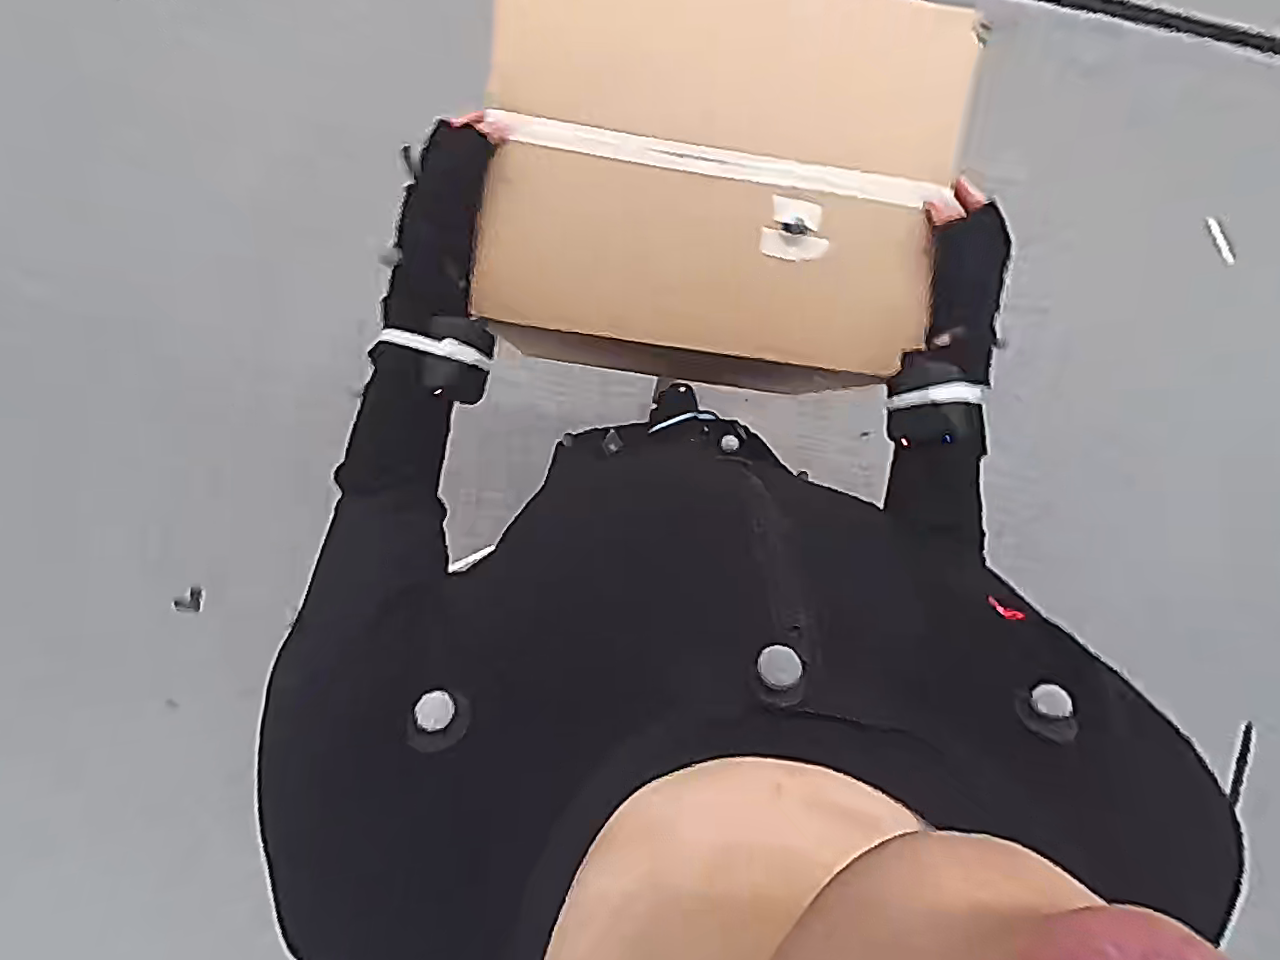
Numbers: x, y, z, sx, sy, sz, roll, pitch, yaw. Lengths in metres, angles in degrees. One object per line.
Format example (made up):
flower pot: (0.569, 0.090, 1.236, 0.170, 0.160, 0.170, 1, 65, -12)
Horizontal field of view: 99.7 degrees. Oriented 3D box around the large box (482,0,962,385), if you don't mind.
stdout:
large box: (0.058, -0.294, 0.620, 0.408, 0.320, 0.320, 7, 97, -6)
